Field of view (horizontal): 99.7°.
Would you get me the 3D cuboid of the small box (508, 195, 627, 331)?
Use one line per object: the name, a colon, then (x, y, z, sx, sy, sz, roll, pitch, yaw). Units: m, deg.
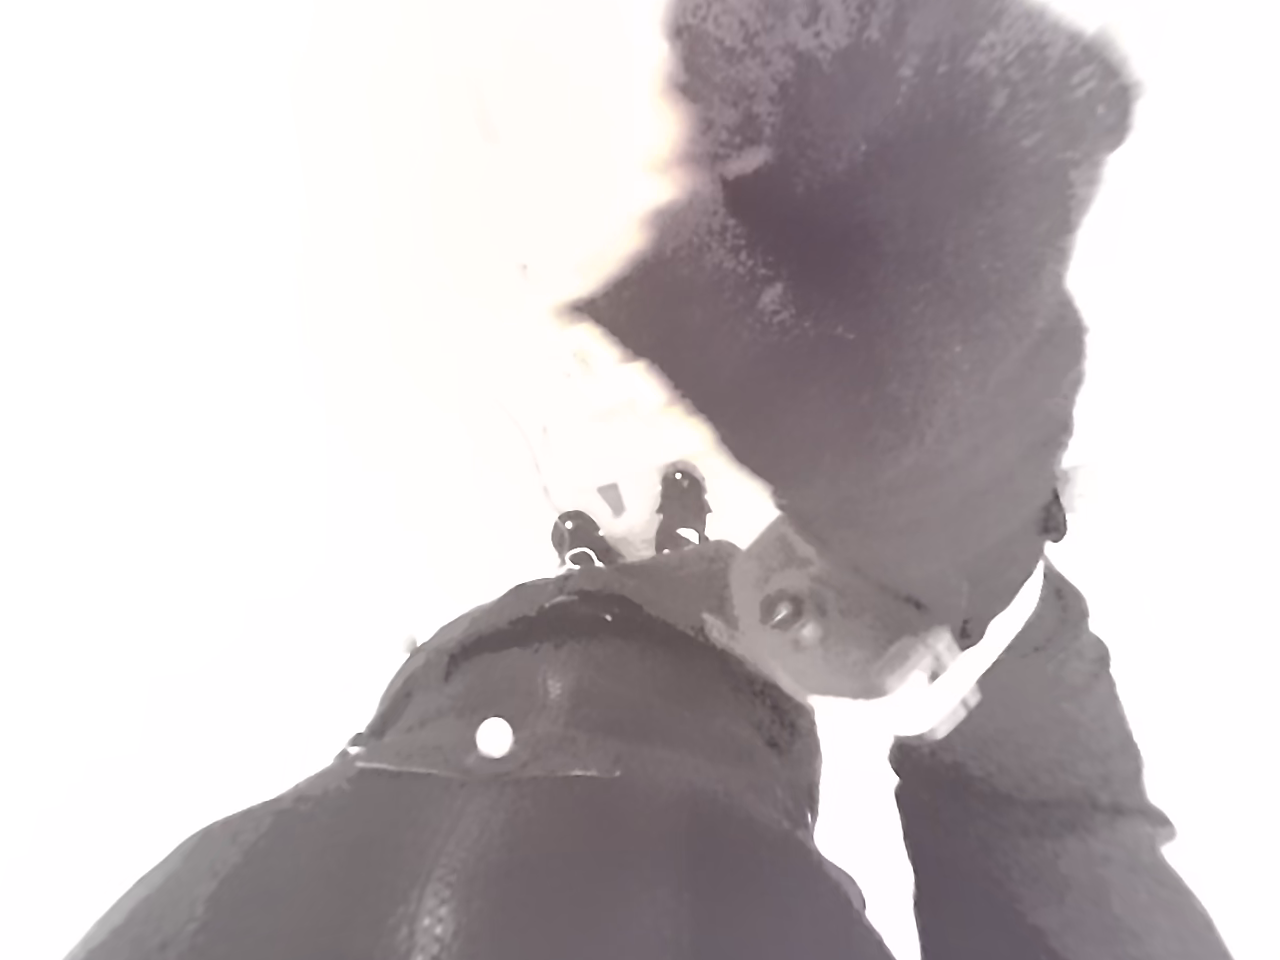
small box: (-0.138, -0.430, 1.102, 0.179, 0.176, 0.168, -29, 90, 3)
